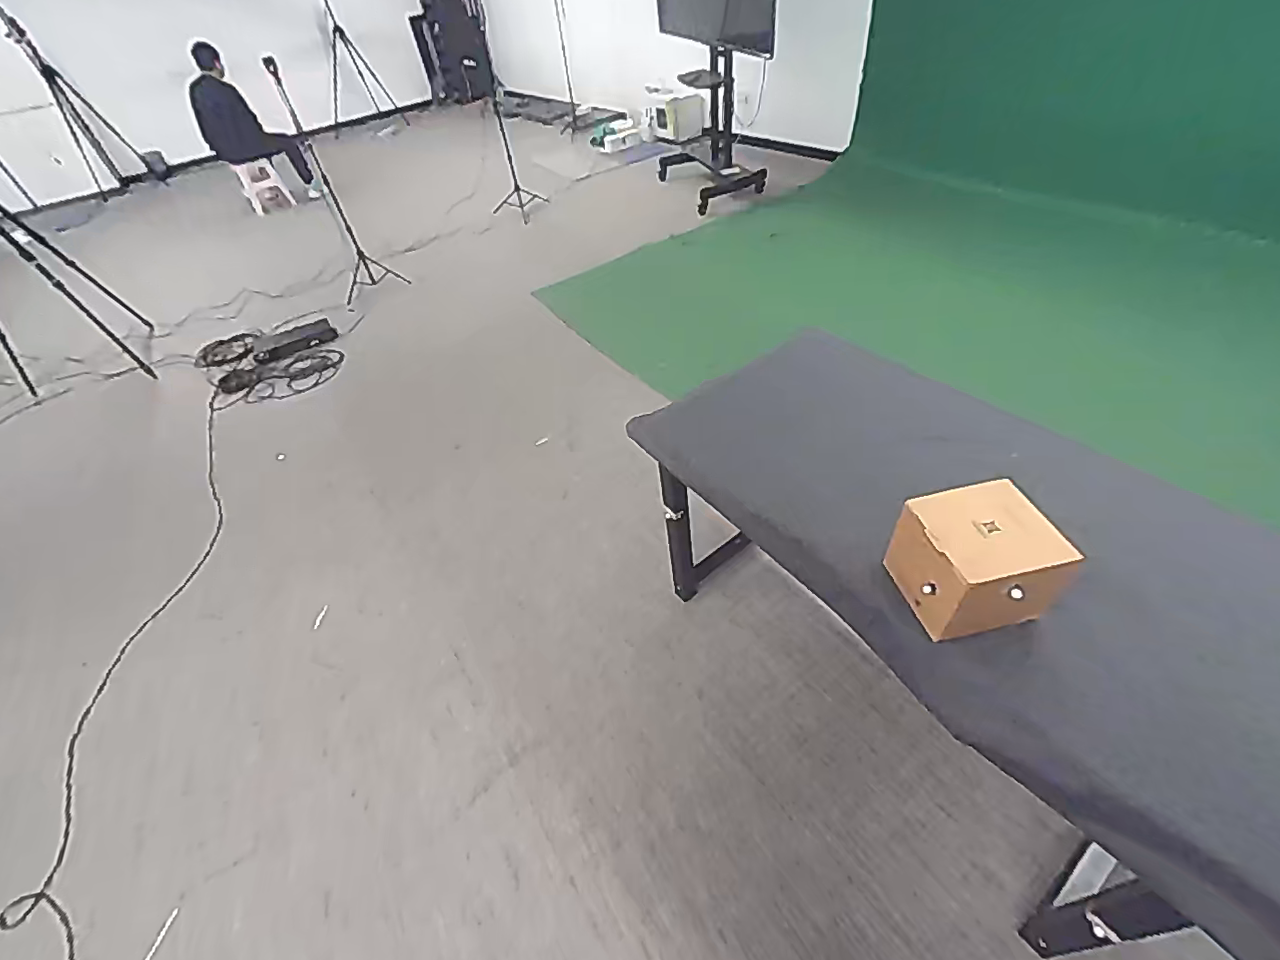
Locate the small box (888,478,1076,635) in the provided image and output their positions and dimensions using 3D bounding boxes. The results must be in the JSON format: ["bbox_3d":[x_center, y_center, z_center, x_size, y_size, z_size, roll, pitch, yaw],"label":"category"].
[{"bbox_3d":[0.522,0.126,0.863,0.179,0.176,0.168,-11,46,-4],"label":"small box"}]
